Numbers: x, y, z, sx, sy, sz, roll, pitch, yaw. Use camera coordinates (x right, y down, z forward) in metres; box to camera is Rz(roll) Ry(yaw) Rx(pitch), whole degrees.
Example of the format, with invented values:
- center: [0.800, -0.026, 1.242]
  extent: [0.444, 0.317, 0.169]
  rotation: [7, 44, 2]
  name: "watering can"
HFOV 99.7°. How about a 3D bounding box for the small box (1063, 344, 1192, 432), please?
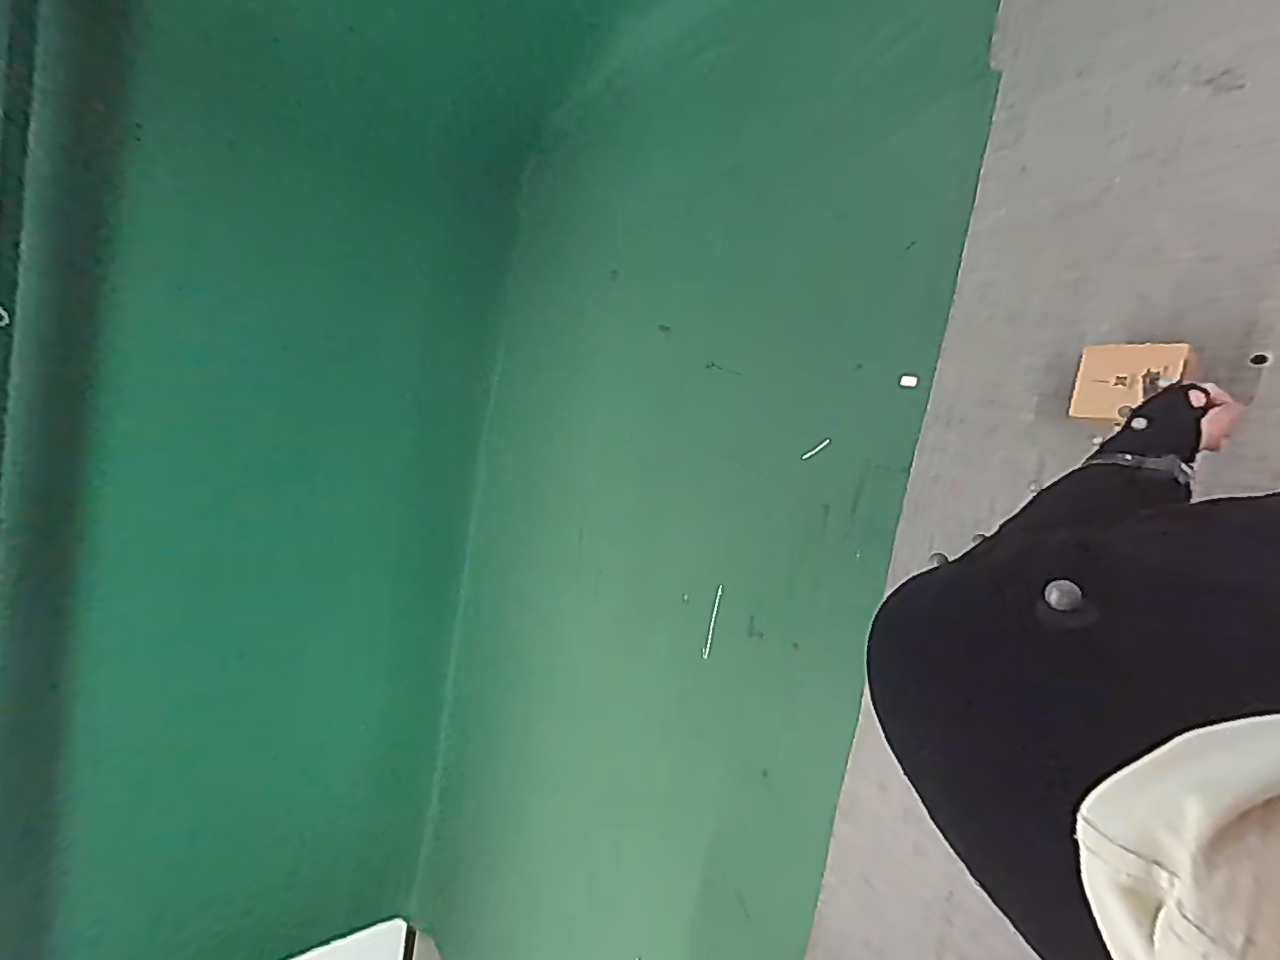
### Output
- center: [1.098, -0.206, 1.216]
  extent: [0.179, 0.176, 0.168]
  rotation: [16, 97, 50]
  name: "small box"
